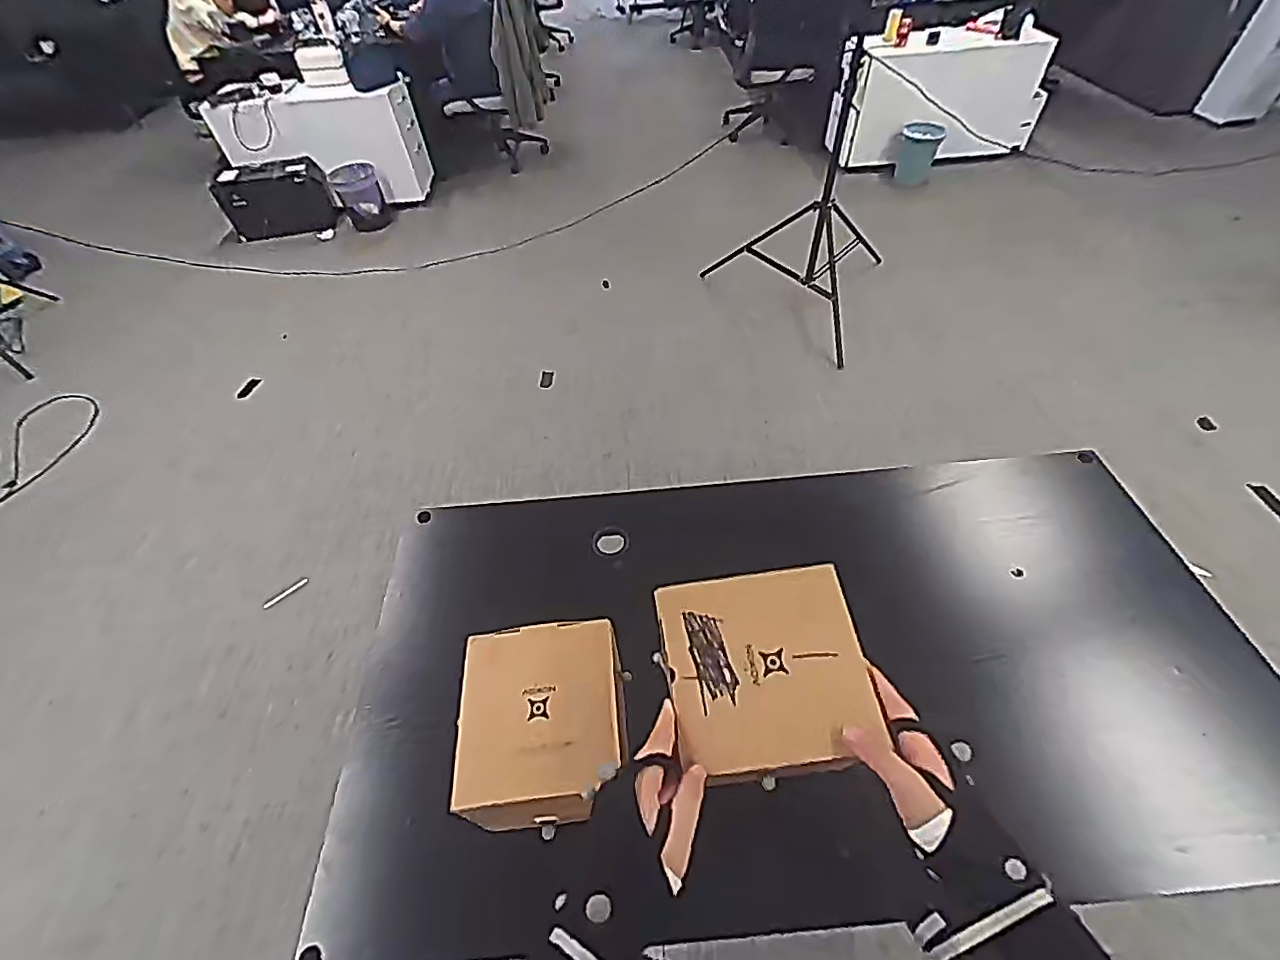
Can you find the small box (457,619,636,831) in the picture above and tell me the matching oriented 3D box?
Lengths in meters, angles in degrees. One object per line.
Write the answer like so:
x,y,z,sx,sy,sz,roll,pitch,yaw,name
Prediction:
-0.098,0.286,0.629,0.168,0.176,0.179,-8,51,-1,small box
